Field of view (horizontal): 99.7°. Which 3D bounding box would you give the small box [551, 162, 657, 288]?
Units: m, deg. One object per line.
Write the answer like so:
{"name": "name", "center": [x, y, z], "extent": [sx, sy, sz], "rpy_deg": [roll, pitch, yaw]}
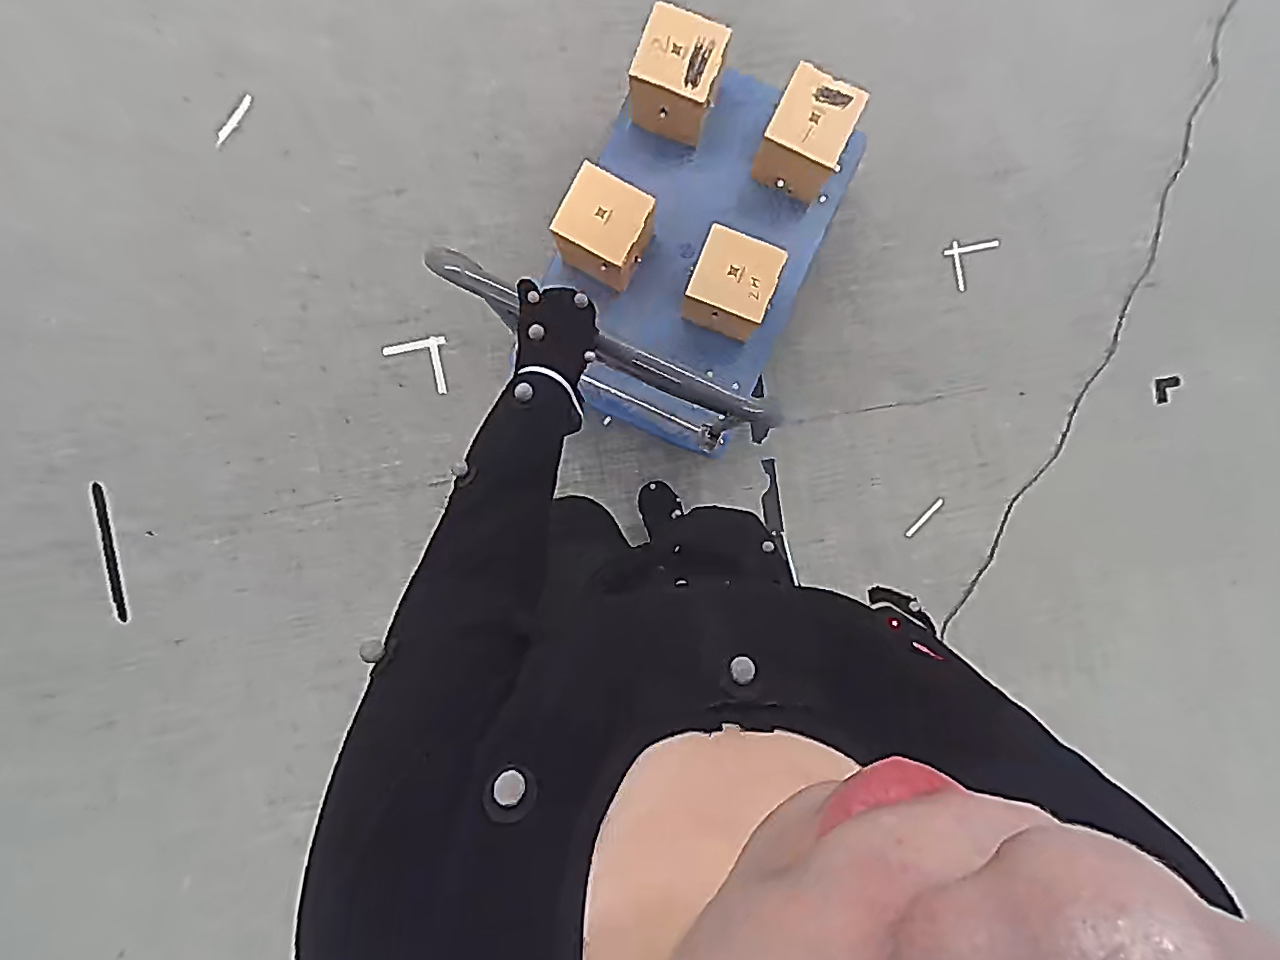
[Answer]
{"name": "small box", "center": [-0.079, -0.564, 1.223], "extent": [0.179, 0.176, 0.168], "rpy_deg": [28, 91, -2]}

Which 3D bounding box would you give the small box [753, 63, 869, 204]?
{"name": "small box", "center": [0.373, -0.768, 1.218], "extent": [0.168, 0.176, 0.179], "rpy_deg": [26, 92, 0]}

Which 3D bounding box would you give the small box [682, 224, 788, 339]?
{"name": "small box", "center": [0.204, -0.438, 1.225], "extent": [0.179, 0.176, 0.168], "rpy_deg": [22, 91, 0]}
